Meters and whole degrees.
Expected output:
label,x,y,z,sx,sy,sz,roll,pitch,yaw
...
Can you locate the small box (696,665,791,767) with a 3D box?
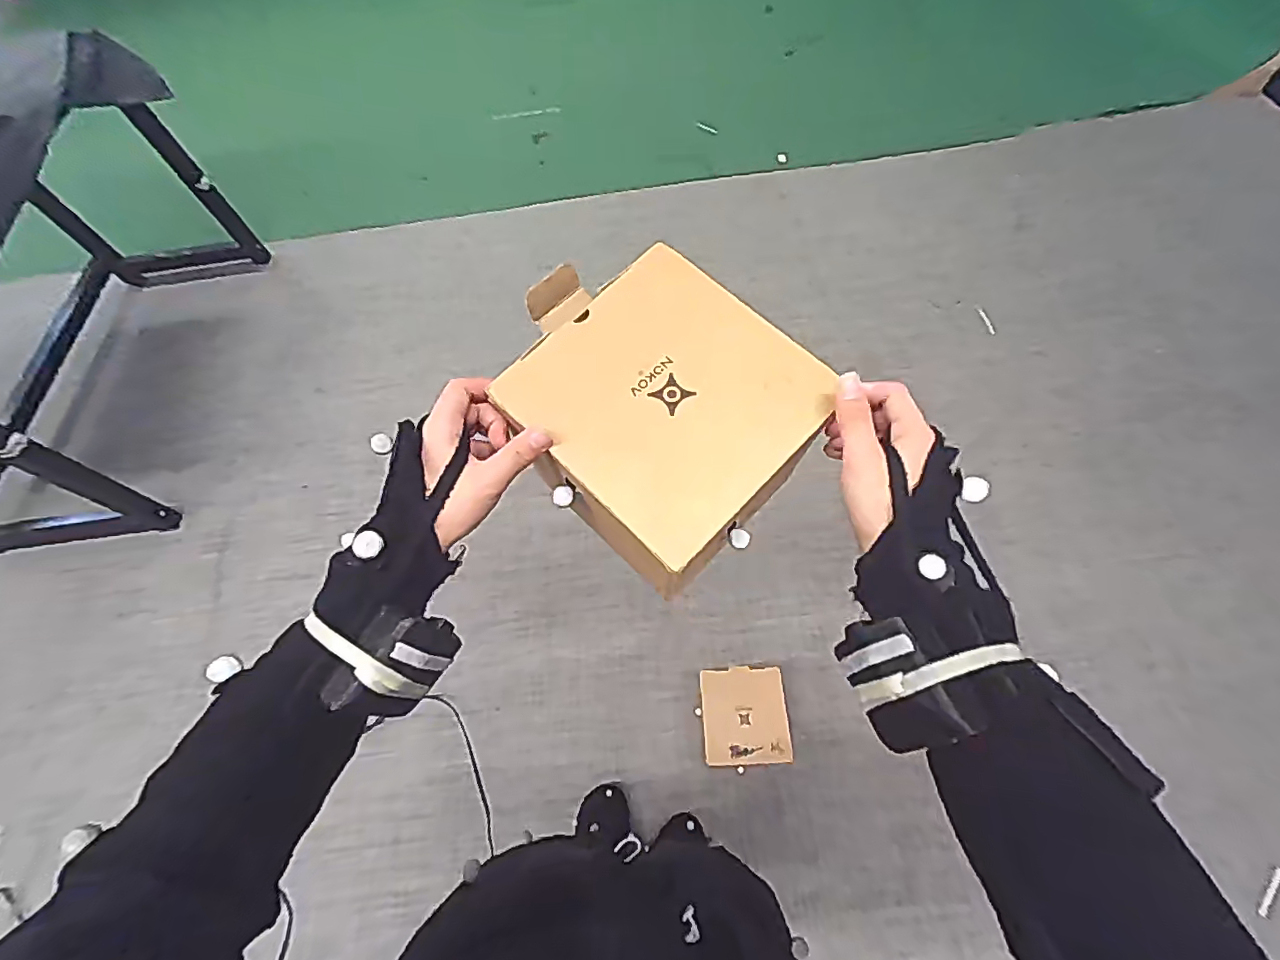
label,x,y,z,sx,sy,sz,roll,pitch,yaw
small box,0.206,0.495,1.126,0.168,0.176,0.179,-4,61,3
